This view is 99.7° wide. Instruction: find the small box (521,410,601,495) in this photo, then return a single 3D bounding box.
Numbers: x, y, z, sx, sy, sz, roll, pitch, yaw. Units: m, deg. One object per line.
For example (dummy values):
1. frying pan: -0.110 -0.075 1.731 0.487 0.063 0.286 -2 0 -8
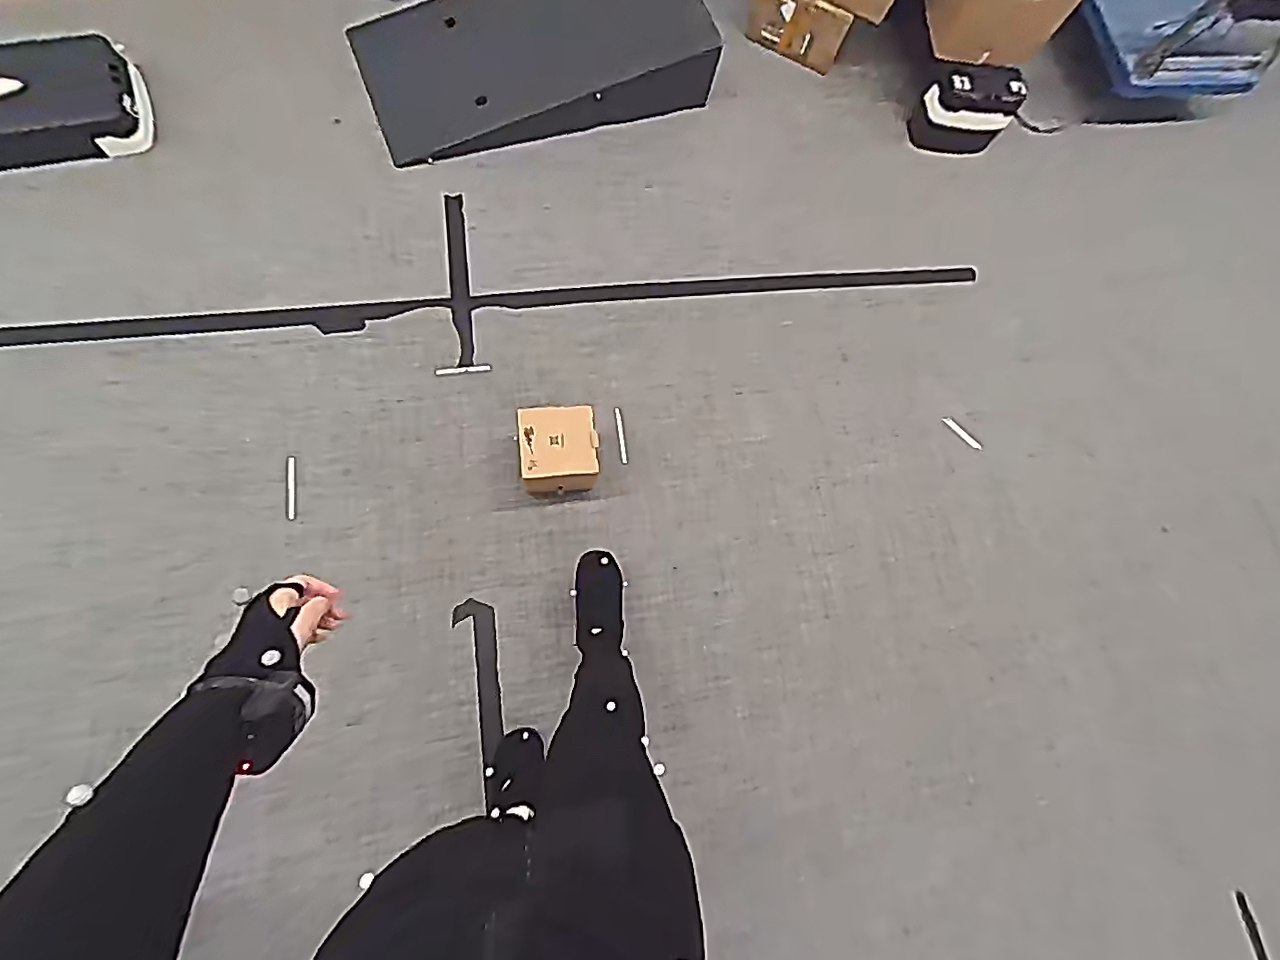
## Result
1. small box: -0.195 -0.063 1.306 0.179 0.176 0.168 -3 77 -11
